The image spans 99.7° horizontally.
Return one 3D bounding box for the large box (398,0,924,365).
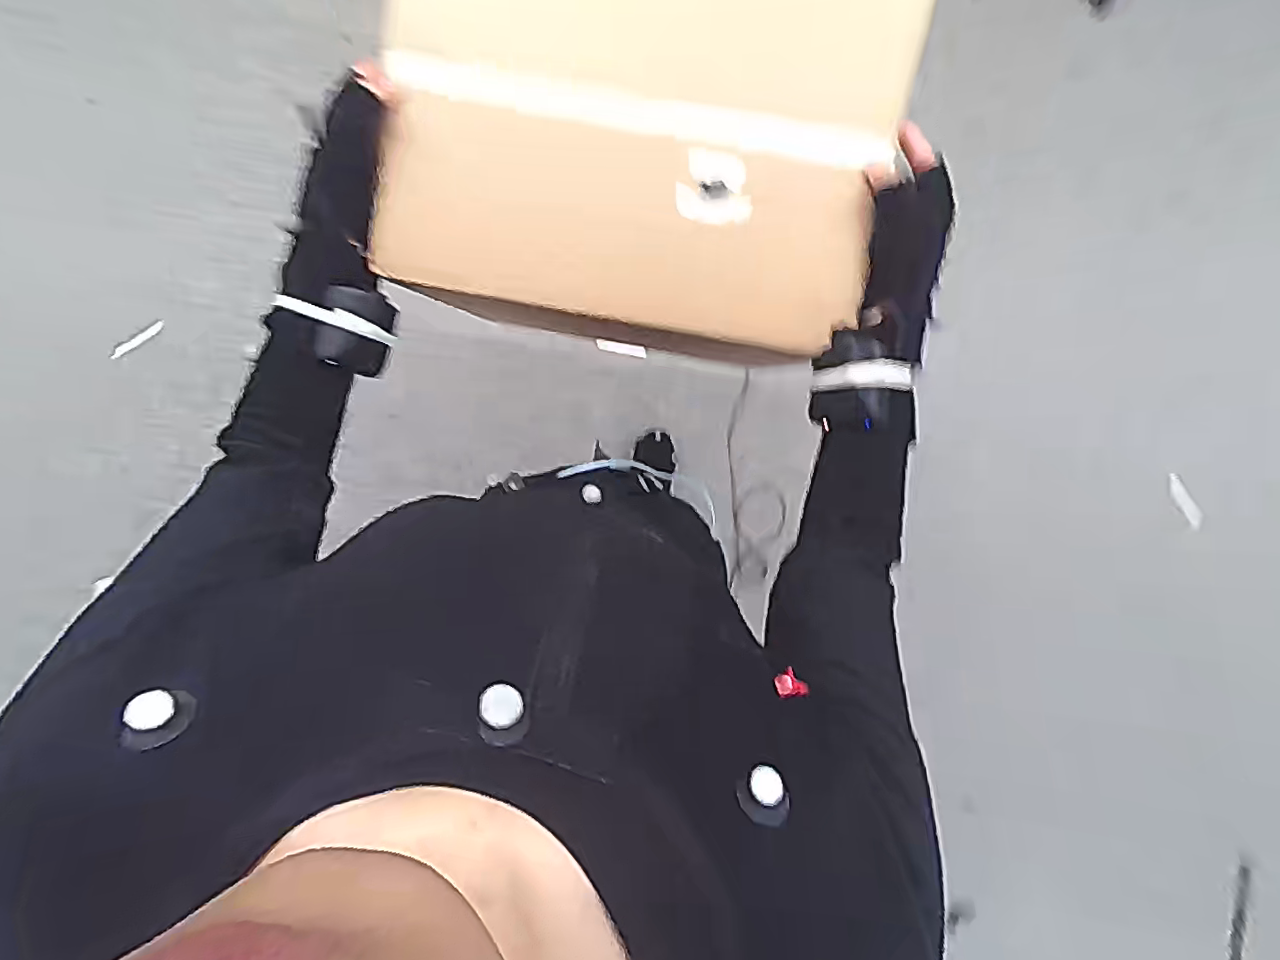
[{"bbox_3d":[0.008,-0.316,0.591,0.408,0.320,0.320,10,100,-2],"label":"large box"}]
